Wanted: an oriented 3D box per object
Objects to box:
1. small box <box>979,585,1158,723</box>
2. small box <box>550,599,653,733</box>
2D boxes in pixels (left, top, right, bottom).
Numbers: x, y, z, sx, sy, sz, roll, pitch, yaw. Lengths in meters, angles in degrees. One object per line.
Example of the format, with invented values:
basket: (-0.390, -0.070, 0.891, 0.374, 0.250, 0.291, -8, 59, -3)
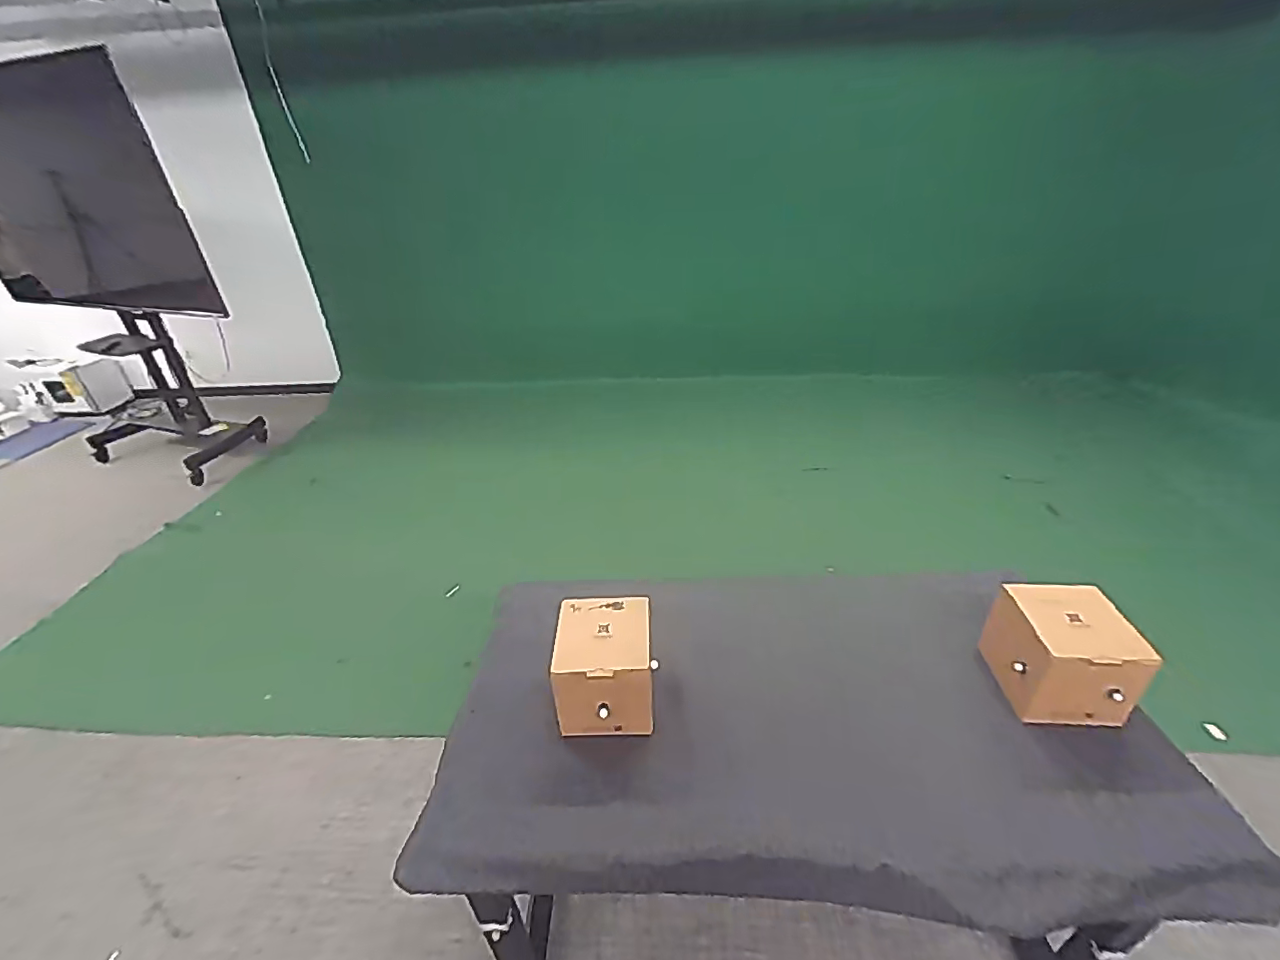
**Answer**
small box: (0.745, 0.309, 0.965, 0.168, 0.176, 0.179, 0, 30, 5)
small box: (-0.062, 0.341, 0.990, 0.168, 0.176, 0.179, -2, 31, 1)
